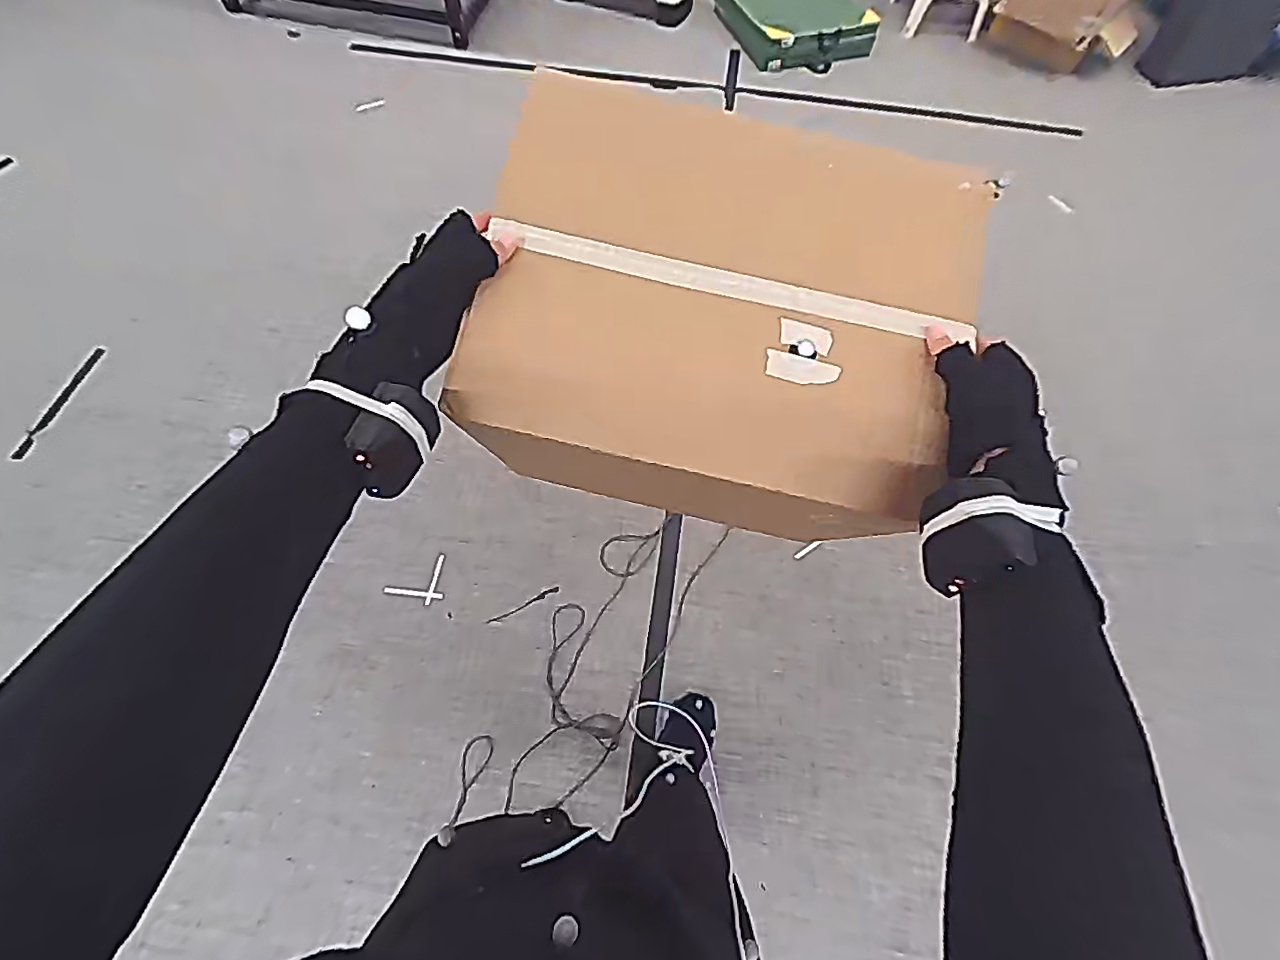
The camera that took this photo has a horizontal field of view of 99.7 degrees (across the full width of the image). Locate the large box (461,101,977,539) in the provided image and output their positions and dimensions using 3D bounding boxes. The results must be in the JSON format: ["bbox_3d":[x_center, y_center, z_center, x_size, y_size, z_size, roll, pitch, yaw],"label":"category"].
[{"bbox_3d":[0.071,-0.129,0.606,0.408,0.320,0.320,13,82,0],"label":"large box"}]
